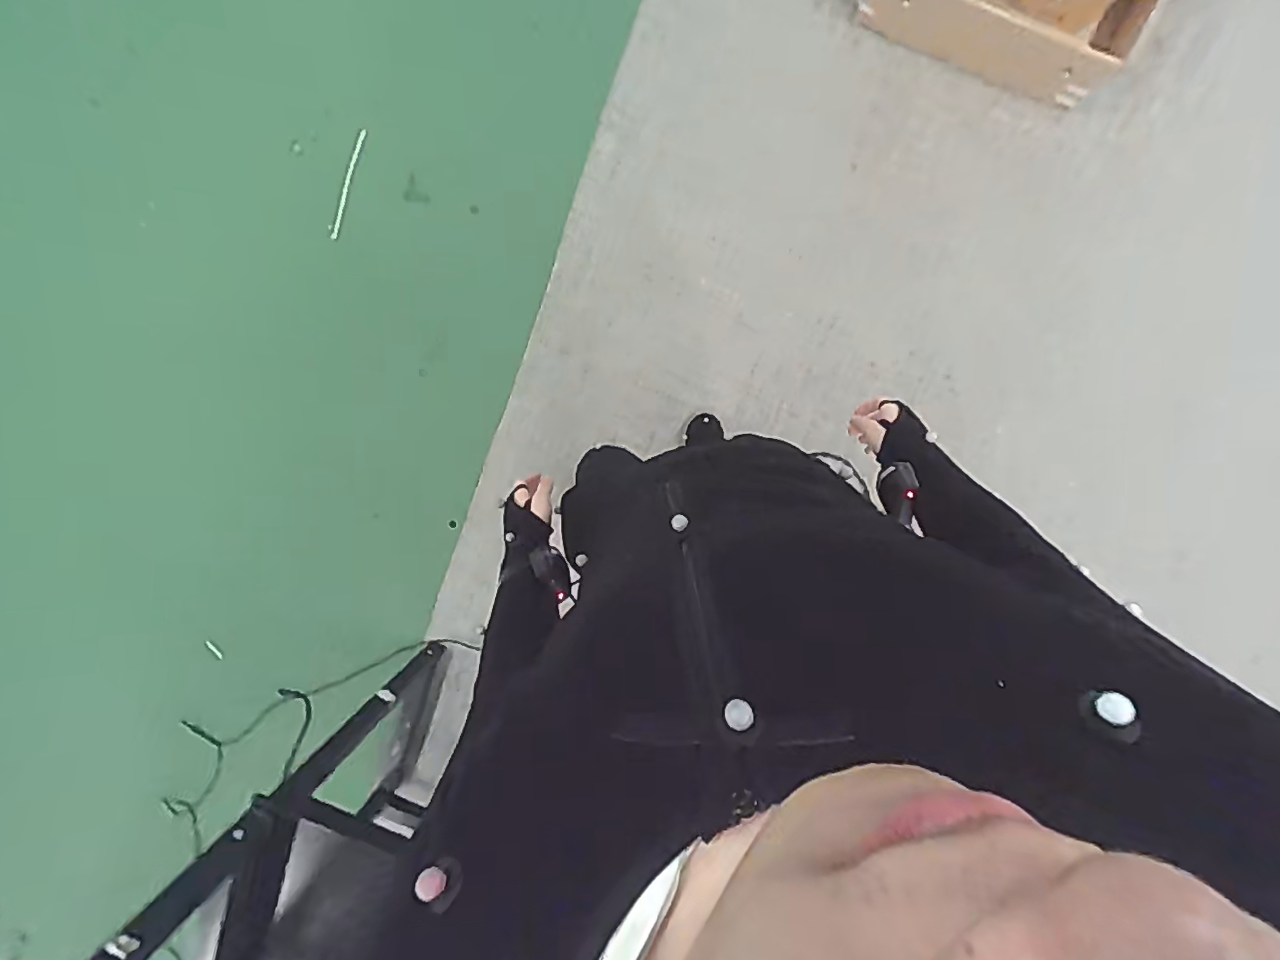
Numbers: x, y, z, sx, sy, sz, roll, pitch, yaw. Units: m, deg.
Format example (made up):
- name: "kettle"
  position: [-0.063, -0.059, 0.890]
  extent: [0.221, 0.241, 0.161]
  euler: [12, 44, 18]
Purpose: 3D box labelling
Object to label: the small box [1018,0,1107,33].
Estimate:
- name: "small box"
  position: [1.003, -1.172, 1.218]
  extent: [0.168, 0.176, 0.179]
  euler: [24, 100, 2]
